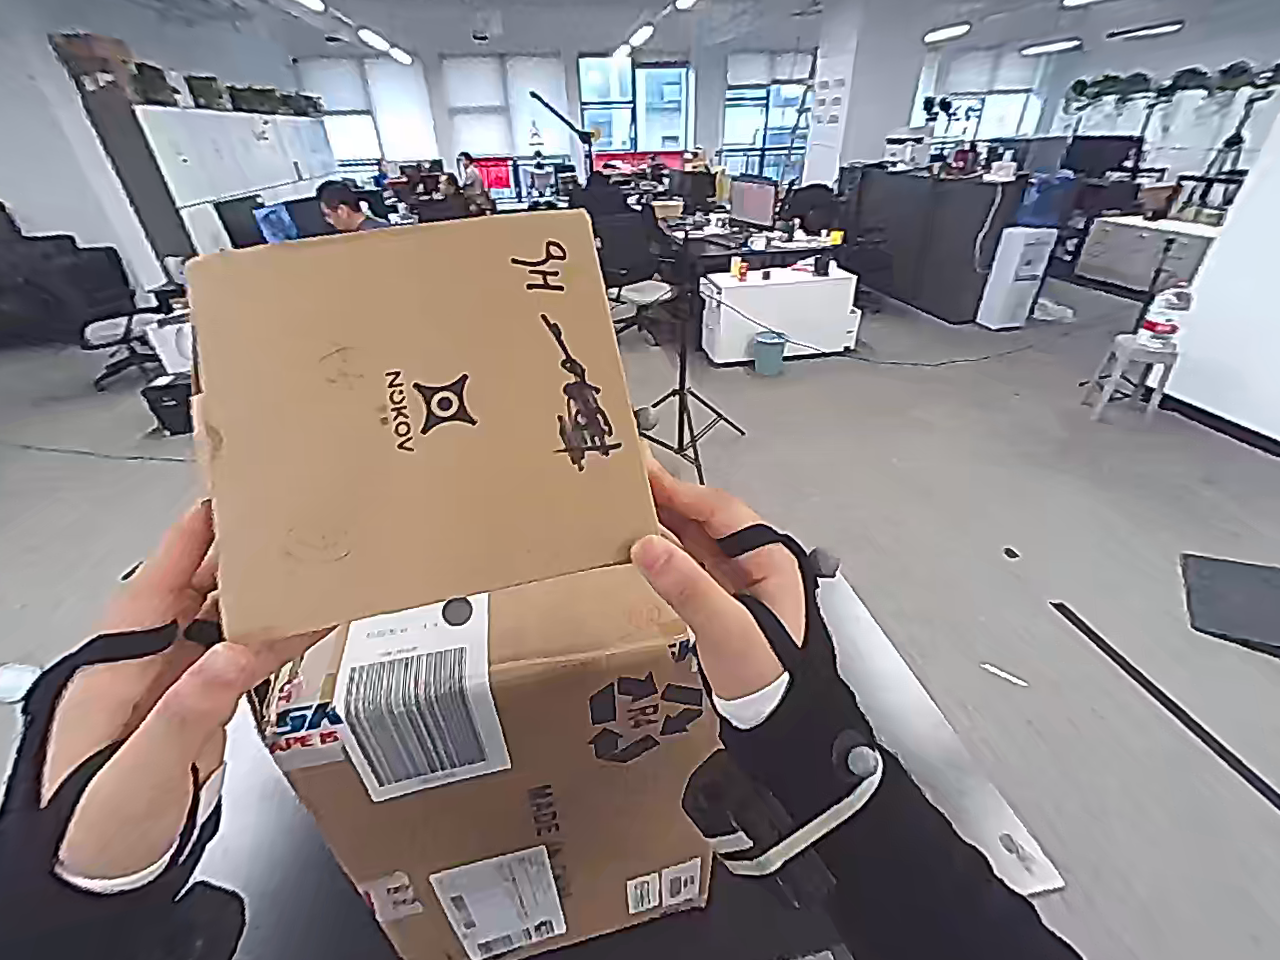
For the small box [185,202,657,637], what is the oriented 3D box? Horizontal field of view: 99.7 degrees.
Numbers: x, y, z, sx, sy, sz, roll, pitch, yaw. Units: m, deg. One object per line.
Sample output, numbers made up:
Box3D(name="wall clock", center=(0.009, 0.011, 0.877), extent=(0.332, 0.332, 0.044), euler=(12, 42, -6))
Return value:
Box3D(name="small box", center=(-0.098, -0.020, 0.305), extent=(0.179, 0.168, 0.176), euler=(-12, -7, -7))
